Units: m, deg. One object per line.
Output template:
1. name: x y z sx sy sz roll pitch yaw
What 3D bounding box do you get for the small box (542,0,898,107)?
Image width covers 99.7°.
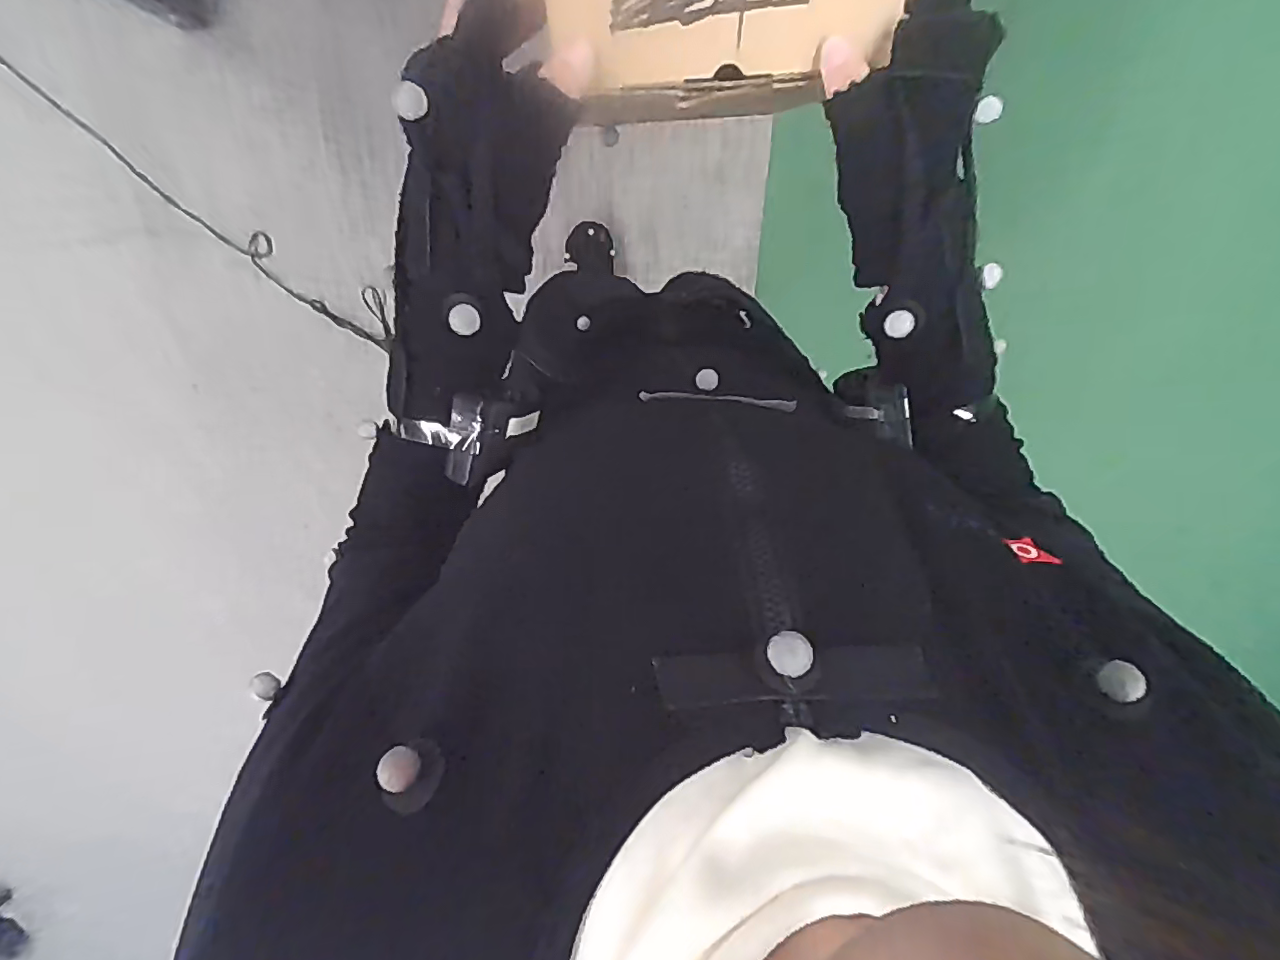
1. small box: 0.028 -0.310 0.284 0.168 0.176 0.179 -6 118 -3
